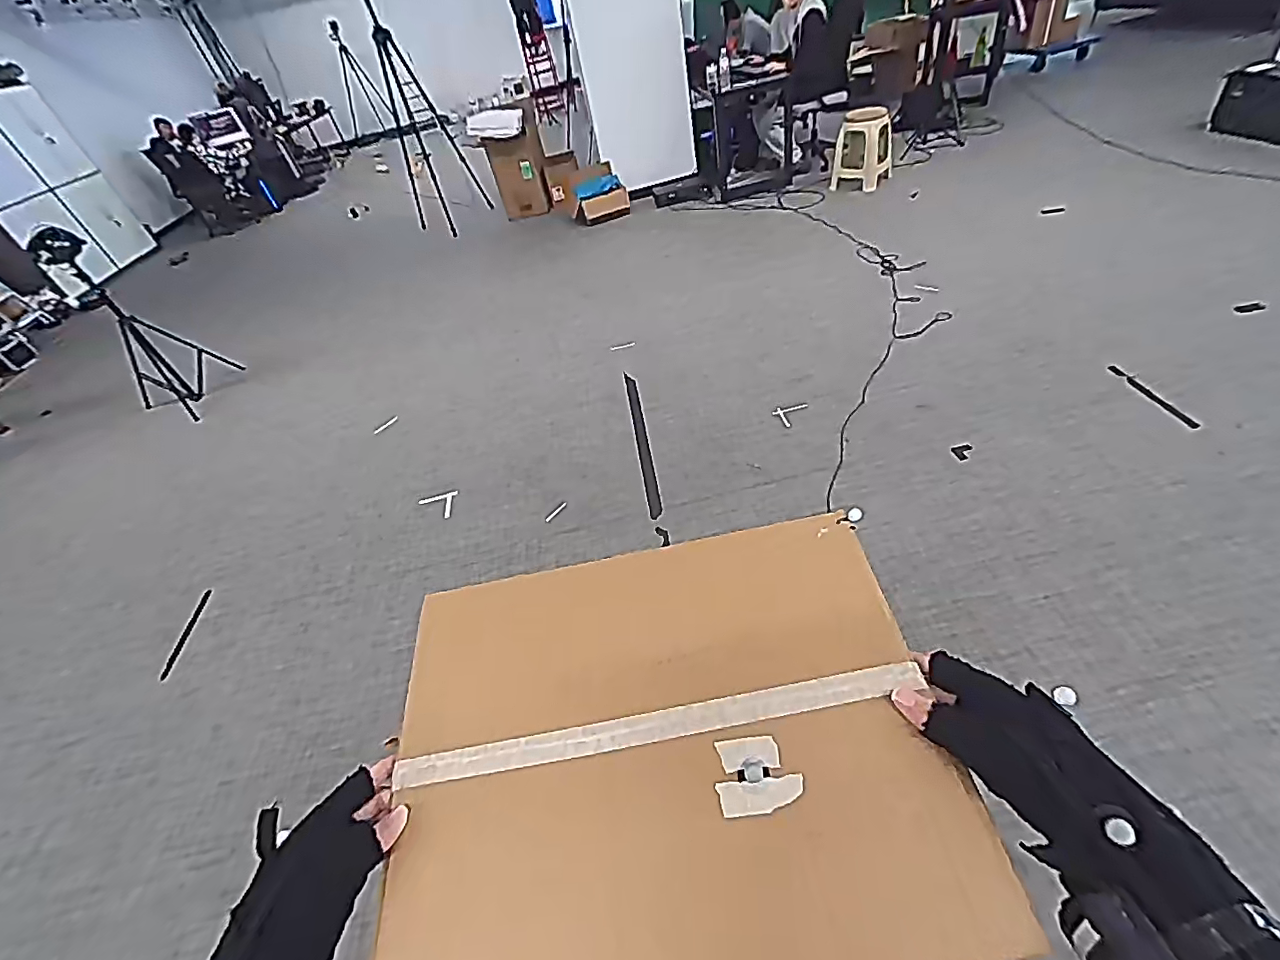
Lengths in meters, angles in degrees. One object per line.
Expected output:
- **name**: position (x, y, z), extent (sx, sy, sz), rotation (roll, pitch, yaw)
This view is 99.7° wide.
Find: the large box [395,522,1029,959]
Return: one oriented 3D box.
- **large box**: position (0.040, 0.289, 0.531), extent (0.408, 0.320, 0.320), rotation (-12, 50, 2)
